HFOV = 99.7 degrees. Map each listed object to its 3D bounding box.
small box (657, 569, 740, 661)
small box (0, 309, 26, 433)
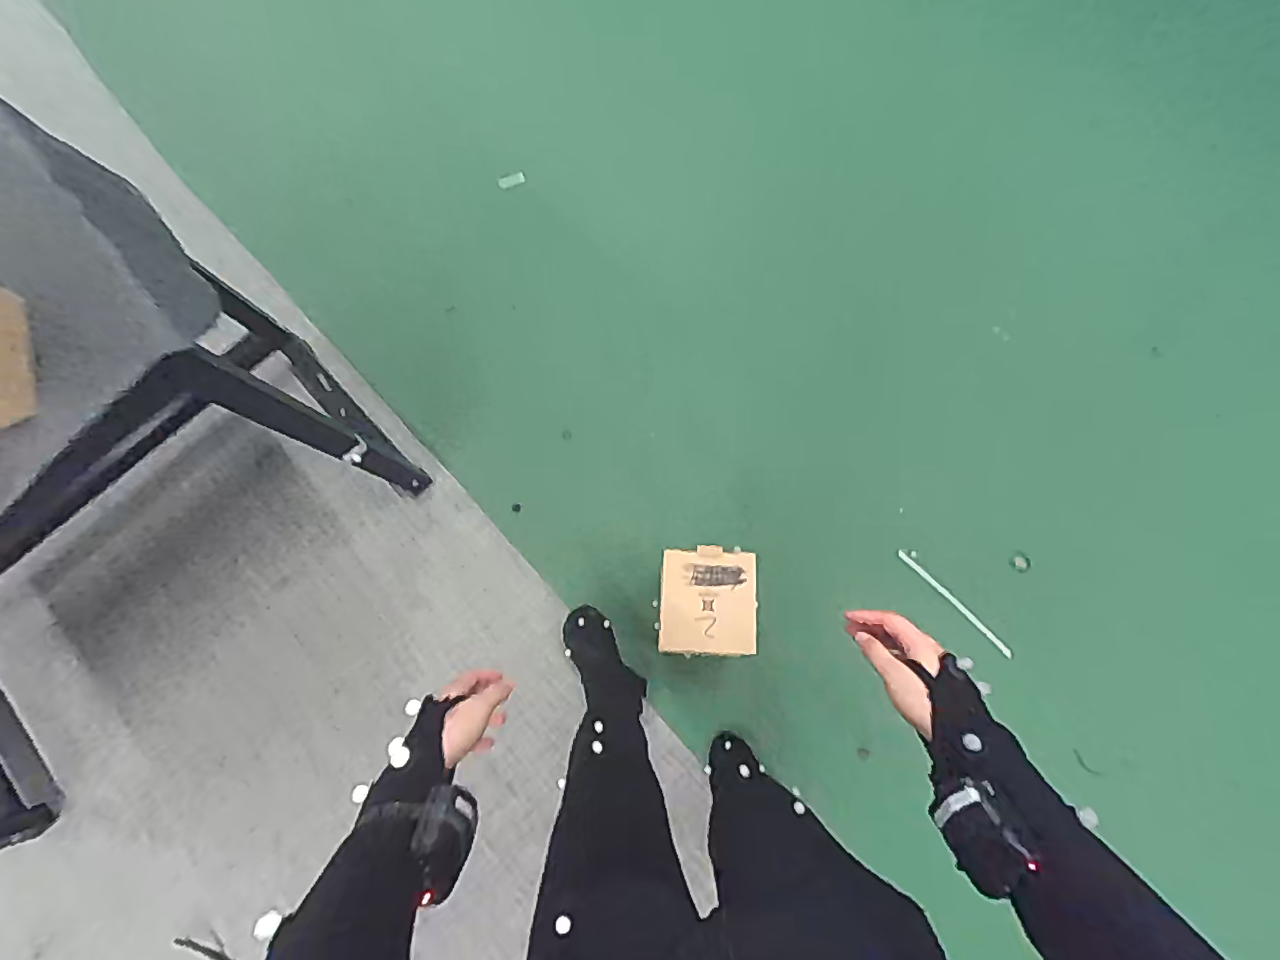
[{"bbox_3d":[0.126,0.290,1.172,0.168,0.176,0.179,1,76,4],"label":"small box"},{"bbox_3d":[-0.832,-0.131,0.583,0.168,0.176,0.179,-24,73,-2],"label":"small box"}]
